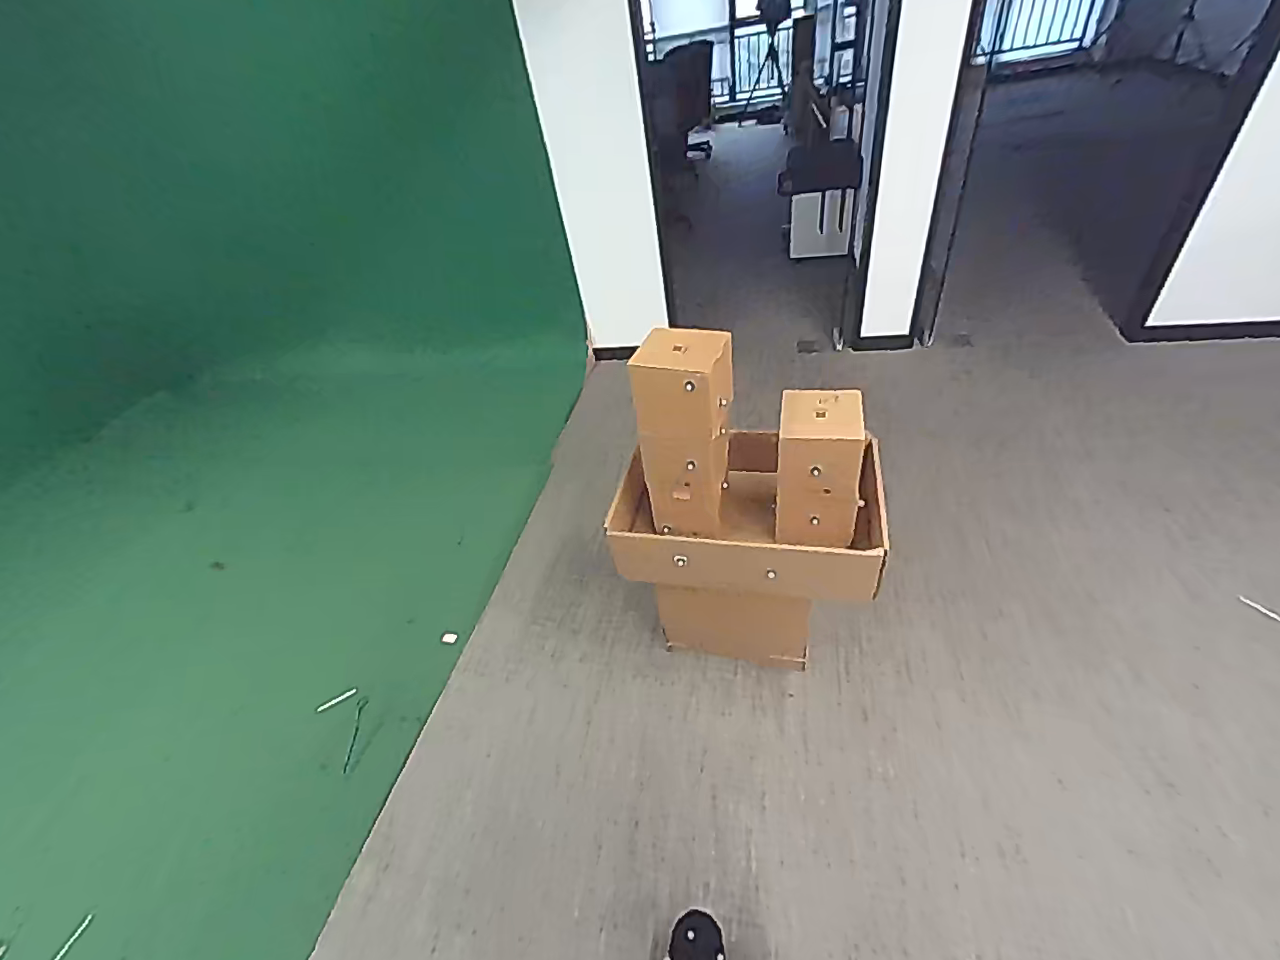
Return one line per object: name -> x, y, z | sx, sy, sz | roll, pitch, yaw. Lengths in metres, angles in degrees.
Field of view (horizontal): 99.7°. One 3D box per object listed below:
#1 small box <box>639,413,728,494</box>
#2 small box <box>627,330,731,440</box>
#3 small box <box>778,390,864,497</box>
small box -> 0.111, -0.087, 1.267 | 0.168, 0.176, 0.179 | 7, 44, 19
small box -> 0.091, -0.204, 1.157 | 0.179, 0.176, 0.168 | 10, 45, 20
small box -> 0.394, -0.078, 1.185 | 0.168, 0.176, 0.179 | 3, 43, 17
